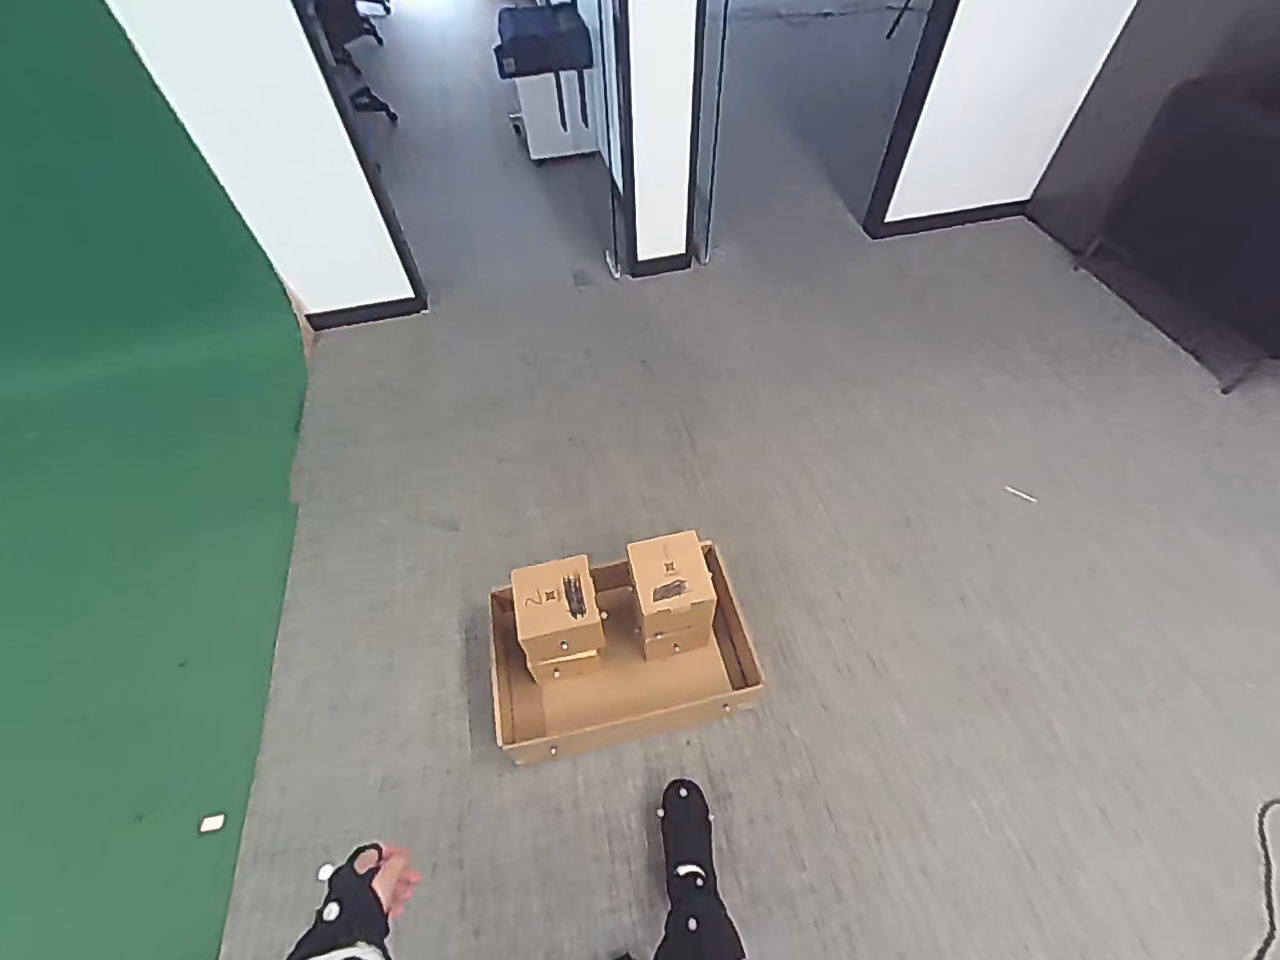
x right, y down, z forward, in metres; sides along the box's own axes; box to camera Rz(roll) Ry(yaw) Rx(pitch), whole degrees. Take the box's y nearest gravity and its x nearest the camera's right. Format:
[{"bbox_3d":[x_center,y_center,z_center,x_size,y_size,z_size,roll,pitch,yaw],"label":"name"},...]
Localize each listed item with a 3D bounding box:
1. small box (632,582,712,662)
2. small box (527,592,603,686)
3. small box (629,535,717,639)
[{"bbox_3d":[0.080,0.355,1.392,0.168,0.176,0.179,-12,55,-6],"label":"small box"},{"bbox_3d":[-0.187,0.408,1.365,0.168,0.176,0.179,-8,54,-5],"label":"small box"},{"bbox_3d":[0.075,0.257,1.260,0.168,0.176,0.179,-11,55,-6],"label":"small box"}]
